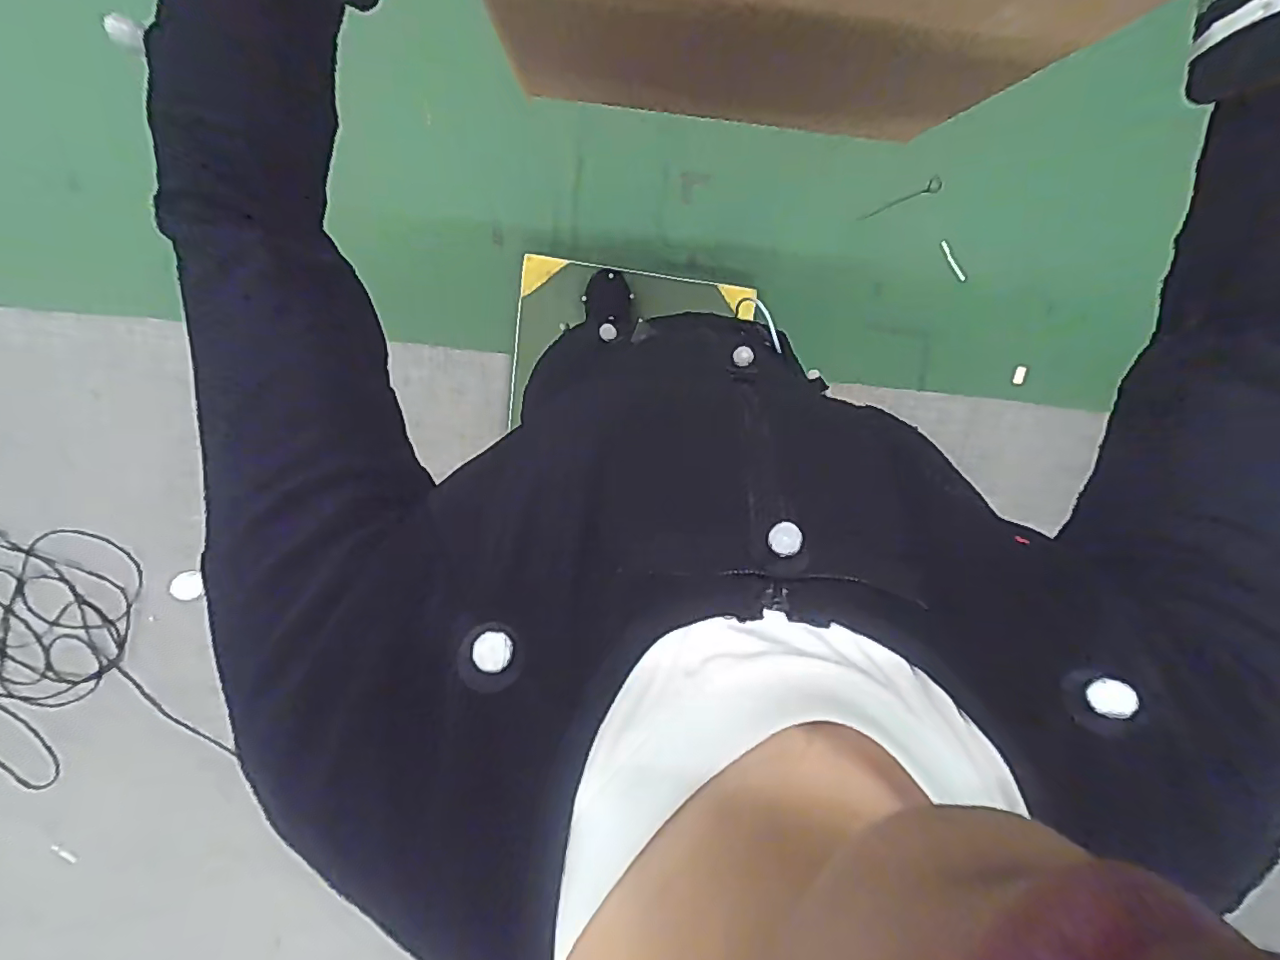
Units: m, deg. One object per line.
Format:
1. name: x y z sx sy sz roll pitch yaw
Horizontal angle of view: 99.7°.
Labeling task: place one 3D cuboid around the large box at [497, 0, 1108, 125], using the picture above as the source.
1. large box: 0.102 -0.475 0.361 0.408 0.320 0.320 3 108 -6
